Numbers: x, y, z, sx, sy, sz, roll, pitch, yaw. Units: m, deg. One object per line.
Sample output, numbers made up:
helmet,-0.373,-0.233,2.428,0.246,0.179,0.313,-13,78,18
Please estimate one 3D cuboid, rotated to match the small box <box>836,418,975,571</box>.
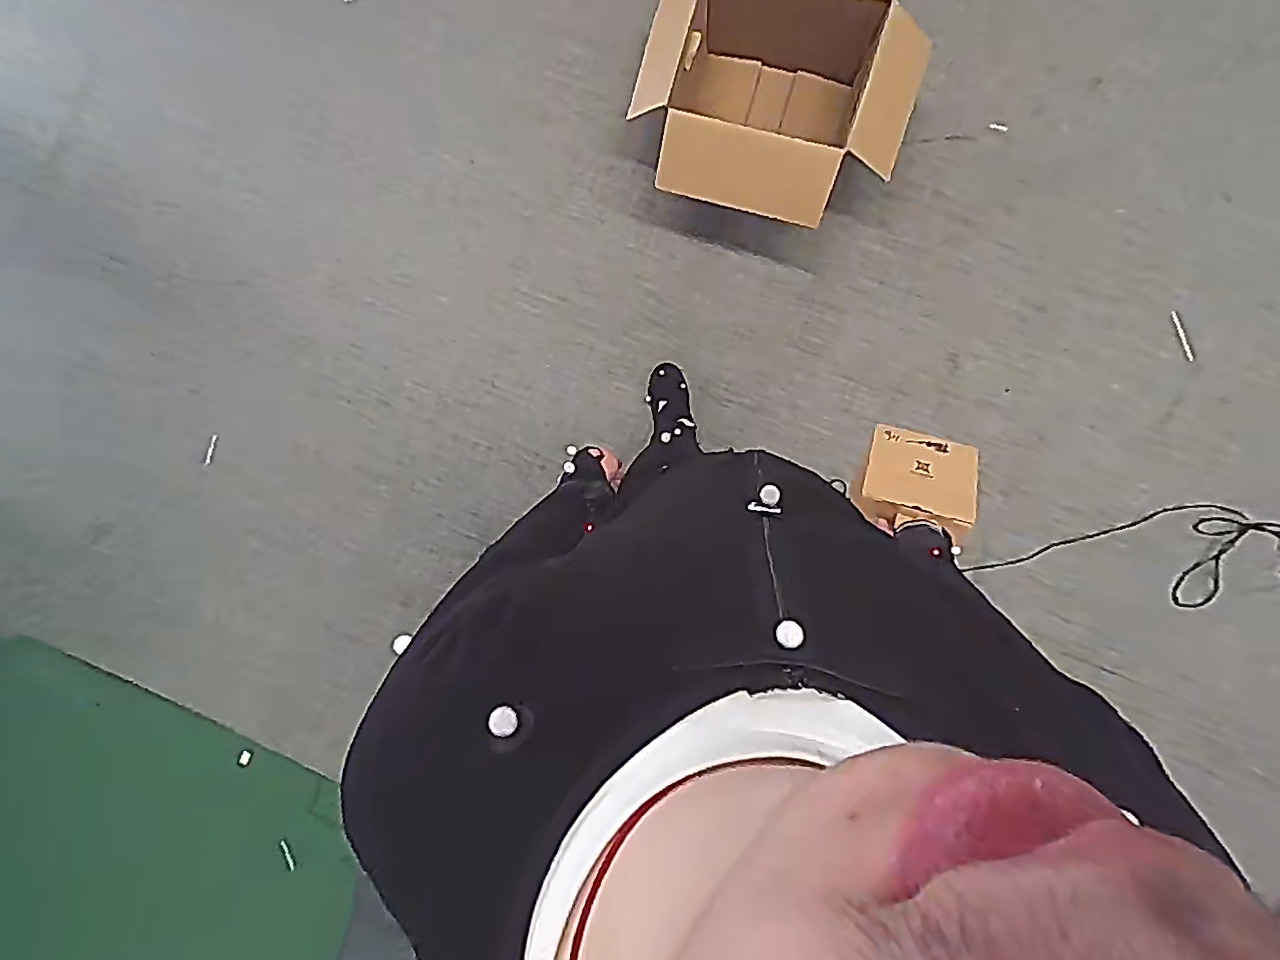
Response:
small box,0.447,0.028,0.927,0.168,0.176,0.179,18,52,17
